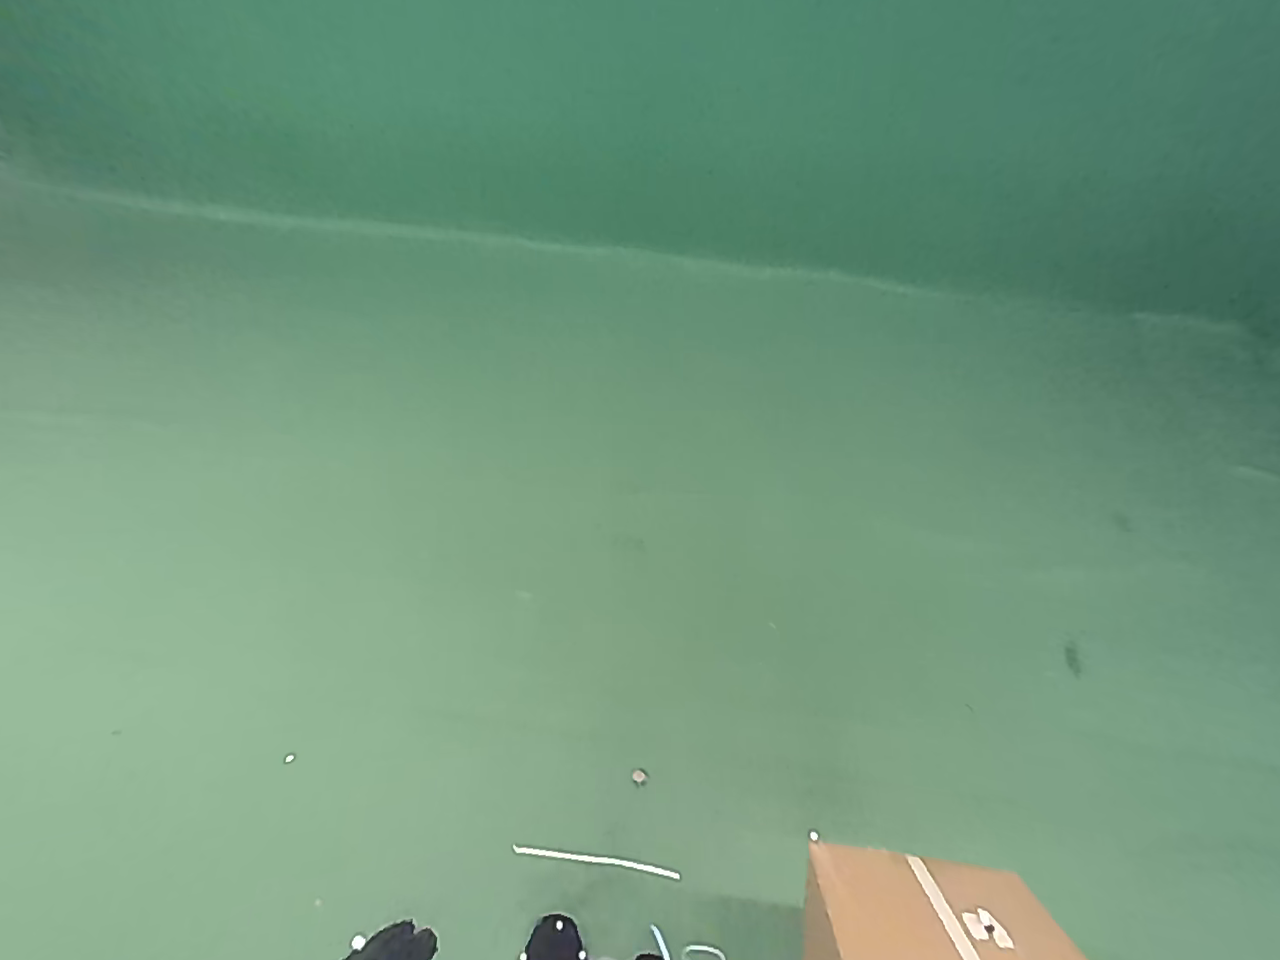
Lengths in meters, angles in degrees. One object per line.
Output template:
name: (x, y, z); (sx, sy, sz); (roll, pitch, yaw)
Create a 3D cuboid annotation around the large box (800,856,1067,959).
large box: (0.383, 0.753, 0.647); (0.320, 0.408, 0.320); (6, 88, 7)
